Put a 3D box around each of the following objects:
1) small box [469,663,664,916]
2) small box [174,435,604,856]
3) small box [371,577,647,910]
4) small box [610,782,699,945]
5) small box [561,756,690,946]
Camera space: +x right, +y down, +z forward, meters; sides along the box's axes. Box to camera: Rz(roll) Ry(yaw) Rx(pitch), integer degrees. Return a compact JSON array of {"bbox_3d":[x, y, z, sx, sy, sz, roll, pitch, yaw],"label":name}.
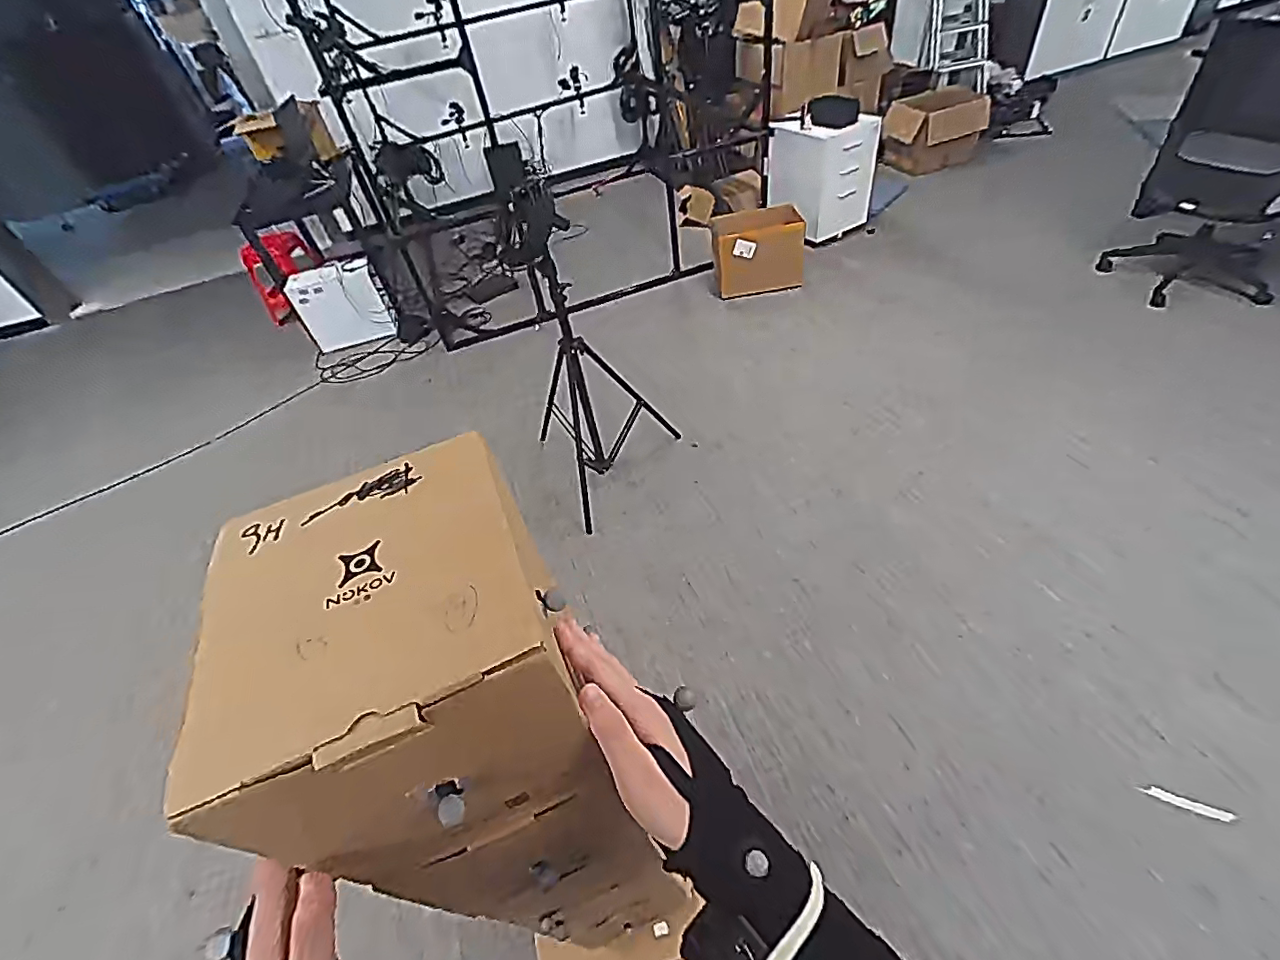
[{"bbox_3d":[-0.082,0.333,0.578,0.168,0.176,0.179,-19,45,-7],"label":"small box"},{"bbox_3d":[-0.135,0.108,0.345,0.168,0.176,0.179,-22,47,-10],"label":"small box"},{"bbox_3d":[-0.106,0.221,0.458,0.168,0.176,0.179,-21,46,-8],"label":"small box"},{"bbox_3d":[-0.011,0.663,0.933,0.179,0.176,0.168,-21,46,-10],"label":"small box"},{"bbox_3d":[-0.035,0.557,0.813,0.168,0.176,0.179,-21,47,-9],"label":"small box"}]
